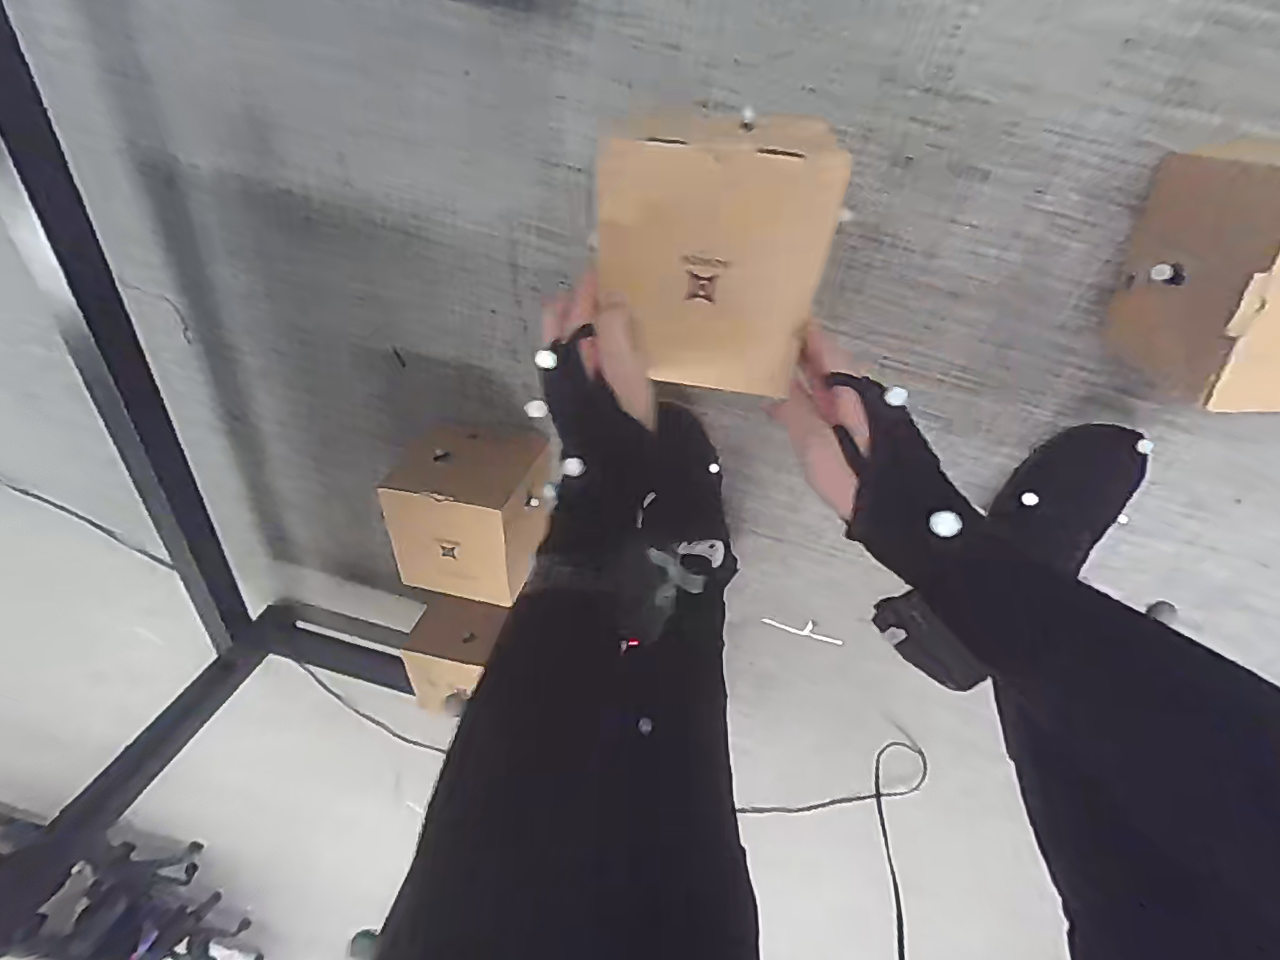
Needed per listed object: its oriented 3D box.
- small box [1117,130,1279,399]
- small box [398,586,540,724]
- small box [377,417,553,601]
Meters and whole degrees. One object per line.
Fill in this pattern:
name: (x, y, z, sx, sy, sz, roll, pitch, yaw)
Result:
small box: (0.527, -0.171, 0.416, 0.179, 0.176, 0.168, 2, 124, 14)
small box: (-0.279, 0.285, 0.934, 0.179, 0.176, 0.168, 9, 126, 8)
small box: (-0.226, 0.033, 0.748, 0.168, 0.176, 0.179, 11, 126, 8)
